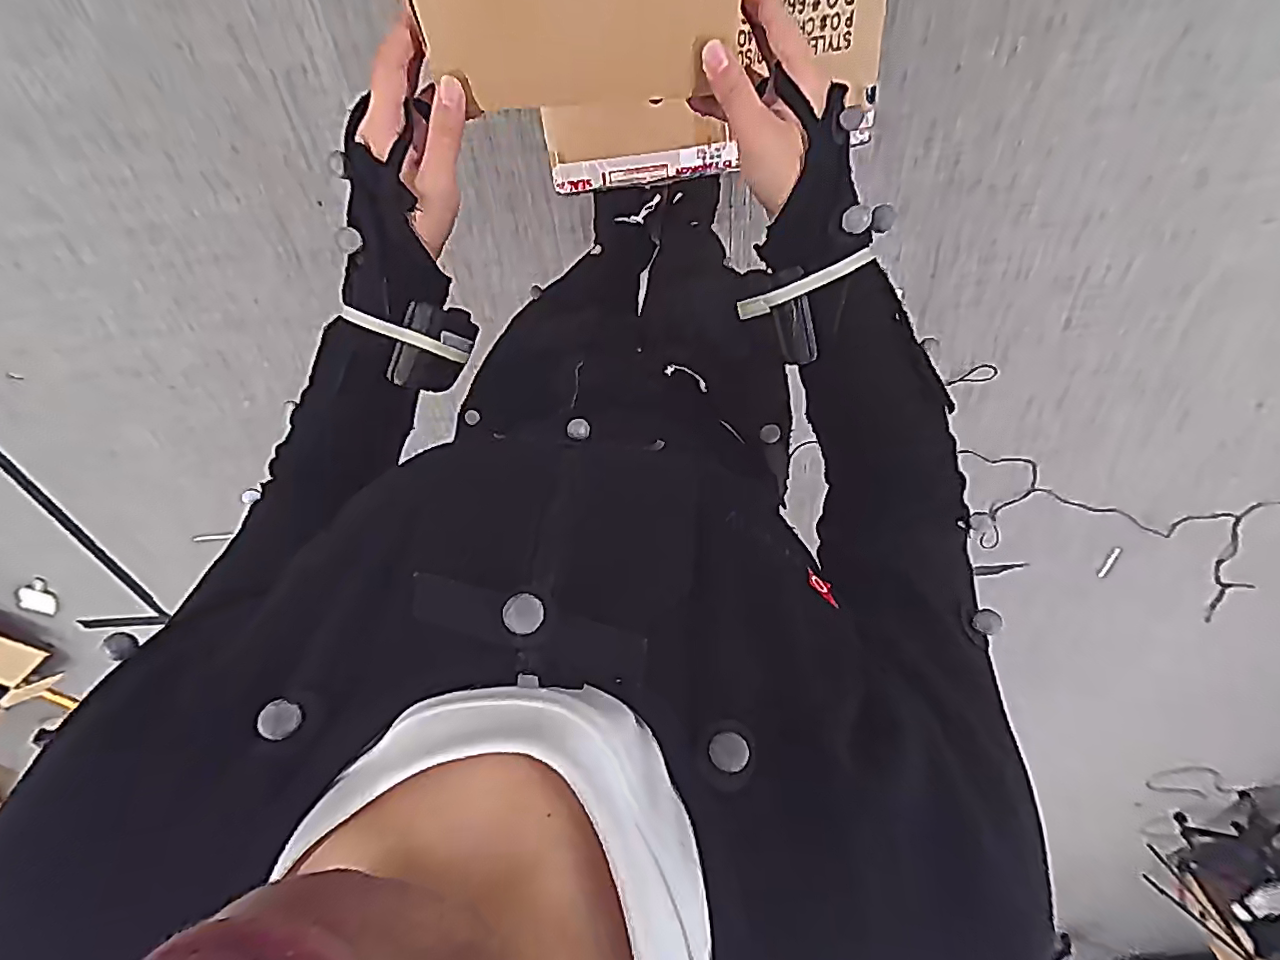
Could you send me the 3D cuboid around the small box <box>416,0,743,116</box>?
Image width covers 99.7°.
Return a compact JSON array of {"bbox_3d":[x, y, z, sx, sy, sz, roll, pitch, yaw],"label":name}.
[{"bbox_3d":[-0.035,-0.338,0.306,0.179,0.176,0.168,-2,146,2],"label":"small box"}]
